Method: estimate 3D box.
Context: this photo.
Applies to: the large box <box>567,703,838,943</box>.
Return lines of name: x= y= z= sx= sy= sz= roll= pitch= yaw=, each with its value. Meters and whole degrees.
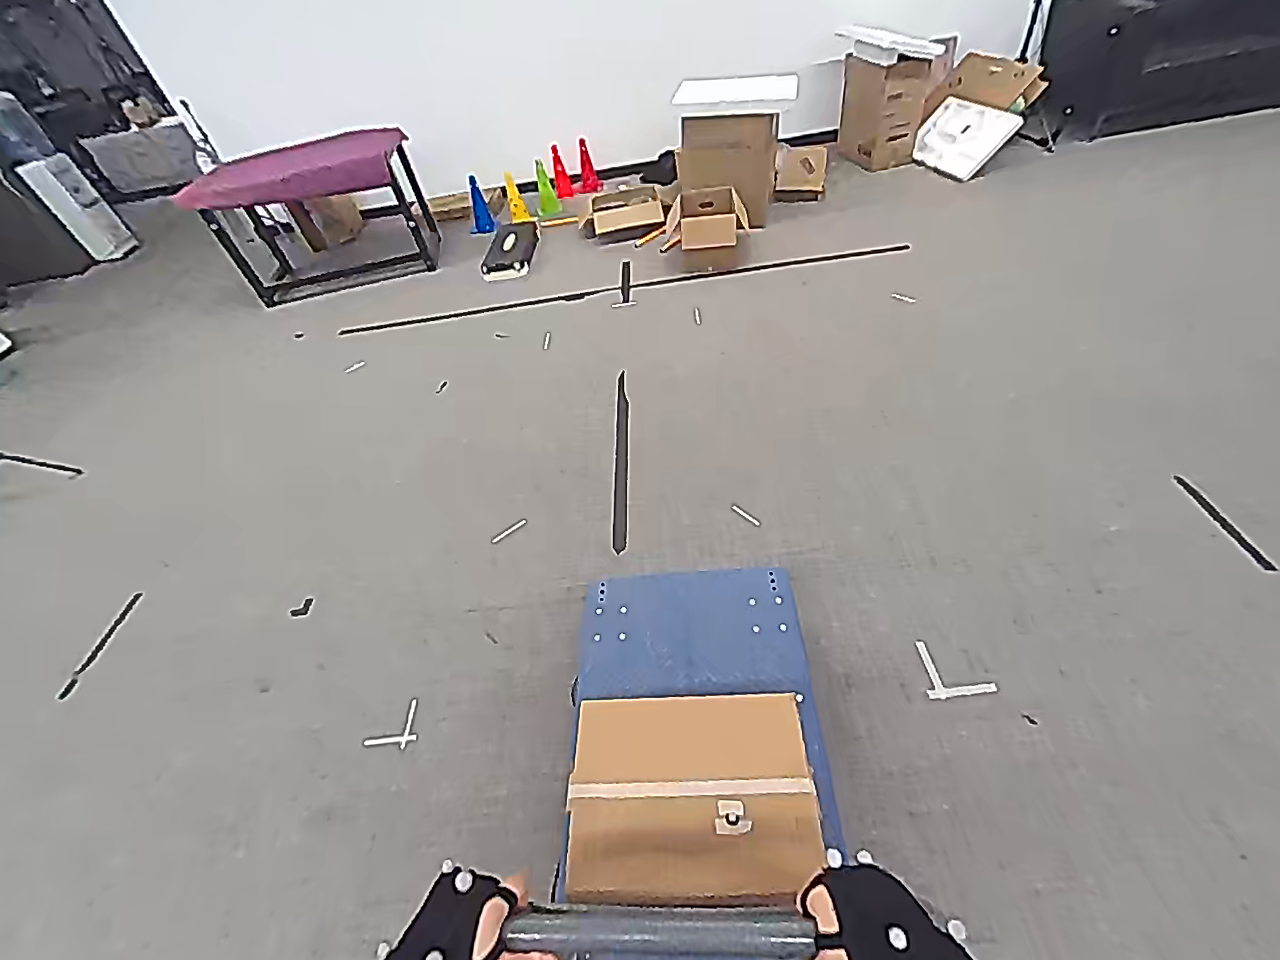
large box: x=0.102 y=0.631 z=0.991 sx=0.408 sy=0.320 sz=0.320 roll=-4 pitch=46 yaw=5
